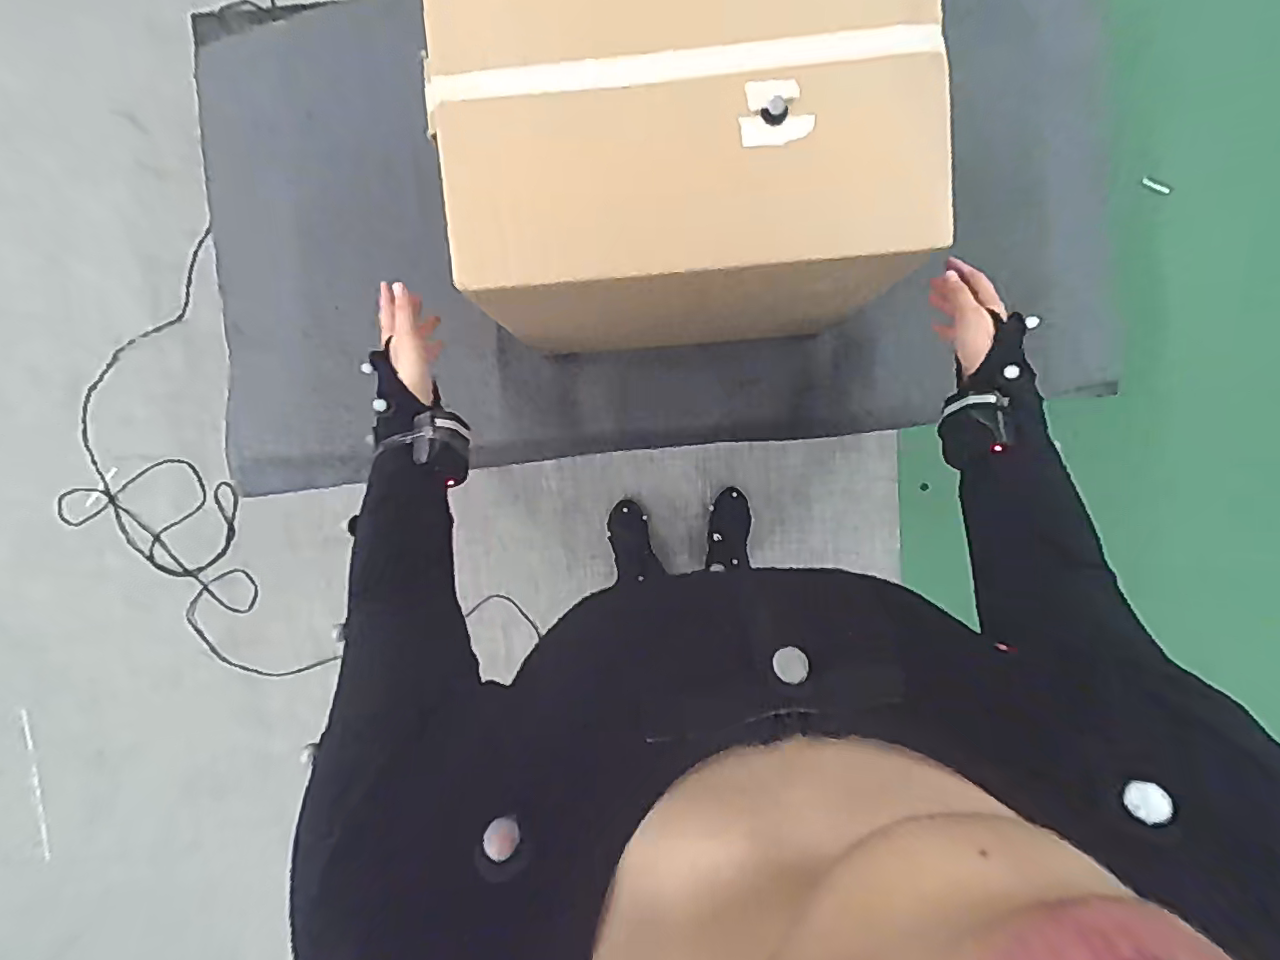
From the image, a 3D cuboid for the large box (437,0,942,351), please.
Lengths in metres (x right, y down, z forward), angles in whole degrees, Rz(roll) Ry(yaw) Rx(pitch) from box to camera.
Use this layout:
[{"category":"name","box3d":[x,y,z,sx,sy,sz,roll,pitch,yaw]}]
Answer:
[{"category":"large box","box3d":[0.039,-0.341,0.590,0.408,0.320,0.320,-5,94,1]}]
